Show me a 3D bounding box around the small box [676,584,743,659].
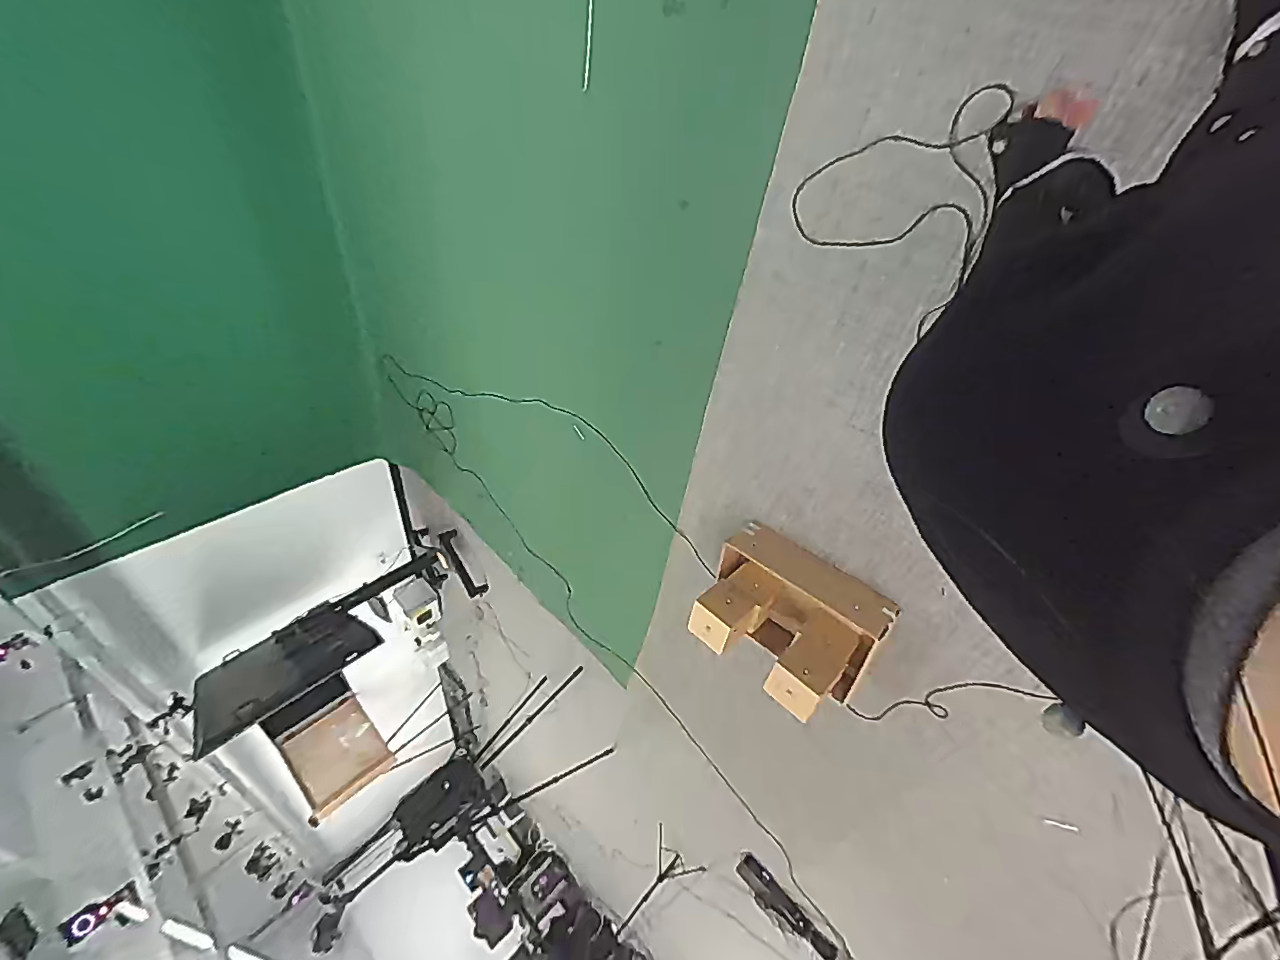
[{"bbox_3d":[0.261,0.521,2.015,0.168,0.176,0.179,36,136,29],"label":"small box"}]

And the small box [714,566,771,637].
[{"bbox_3d":[0.385,0.466,2.112,0.179,0.176,0.168,35,135,28],"label":"small box"}]

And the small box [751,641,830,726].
[{"bbox_3d":[0.516,0.688,1.842,0.179,0.176,0.168,36,134,29],"label":"small box"}]
